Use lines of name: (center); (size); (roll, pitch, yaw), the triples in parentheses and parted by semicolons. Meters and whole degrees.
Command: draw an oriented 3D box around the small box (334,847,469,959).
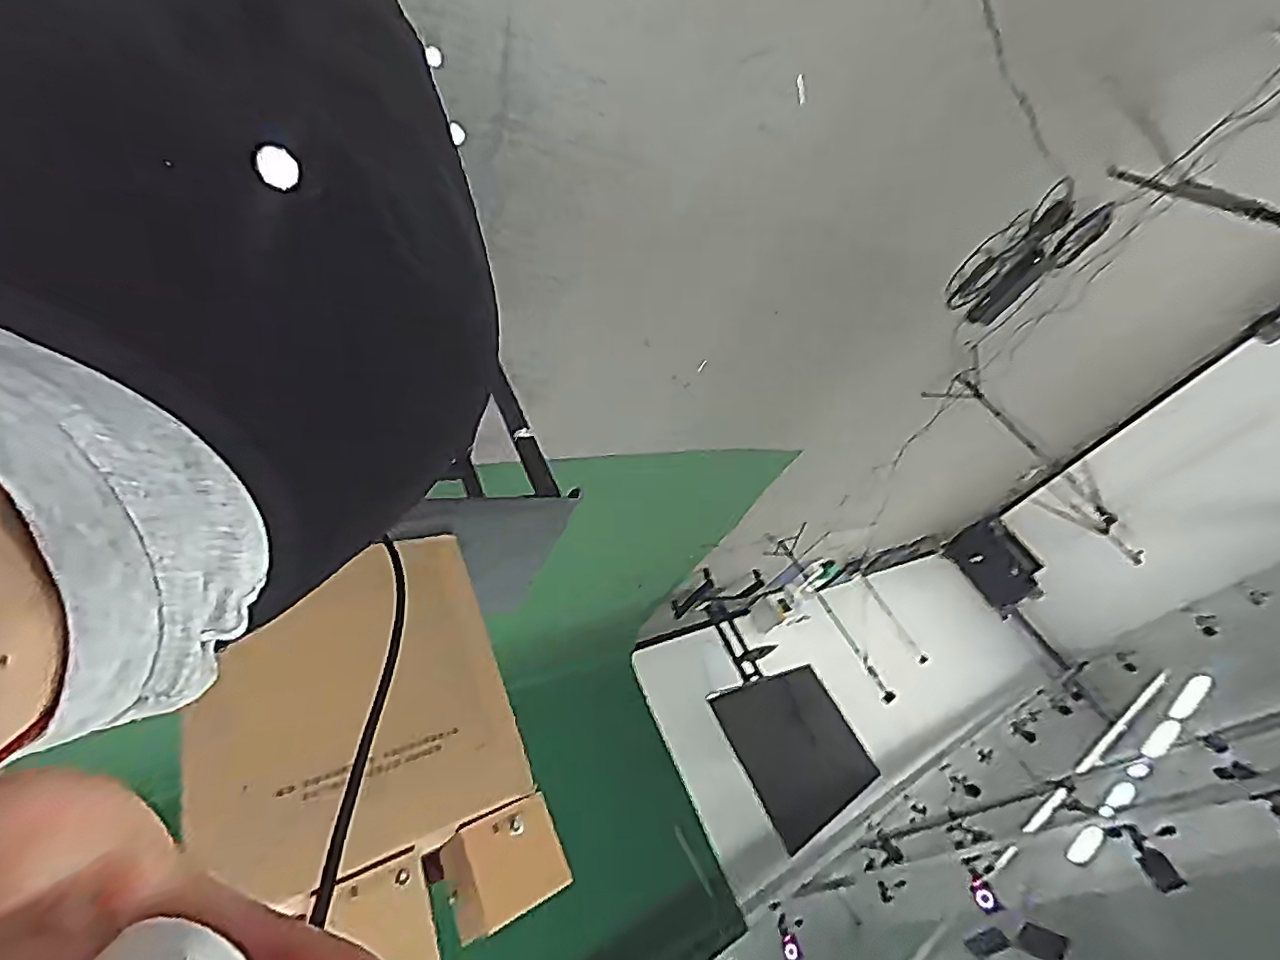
small box: (-0.406, 0.752, 0.907); (0.168, 0.176, 0.179); (-6, 144, -36)

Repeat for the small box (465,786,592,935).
small box: (-0.224, 0.728, 1.047); (0.168, 0.176, 0.179); (-8, 143, -39)
